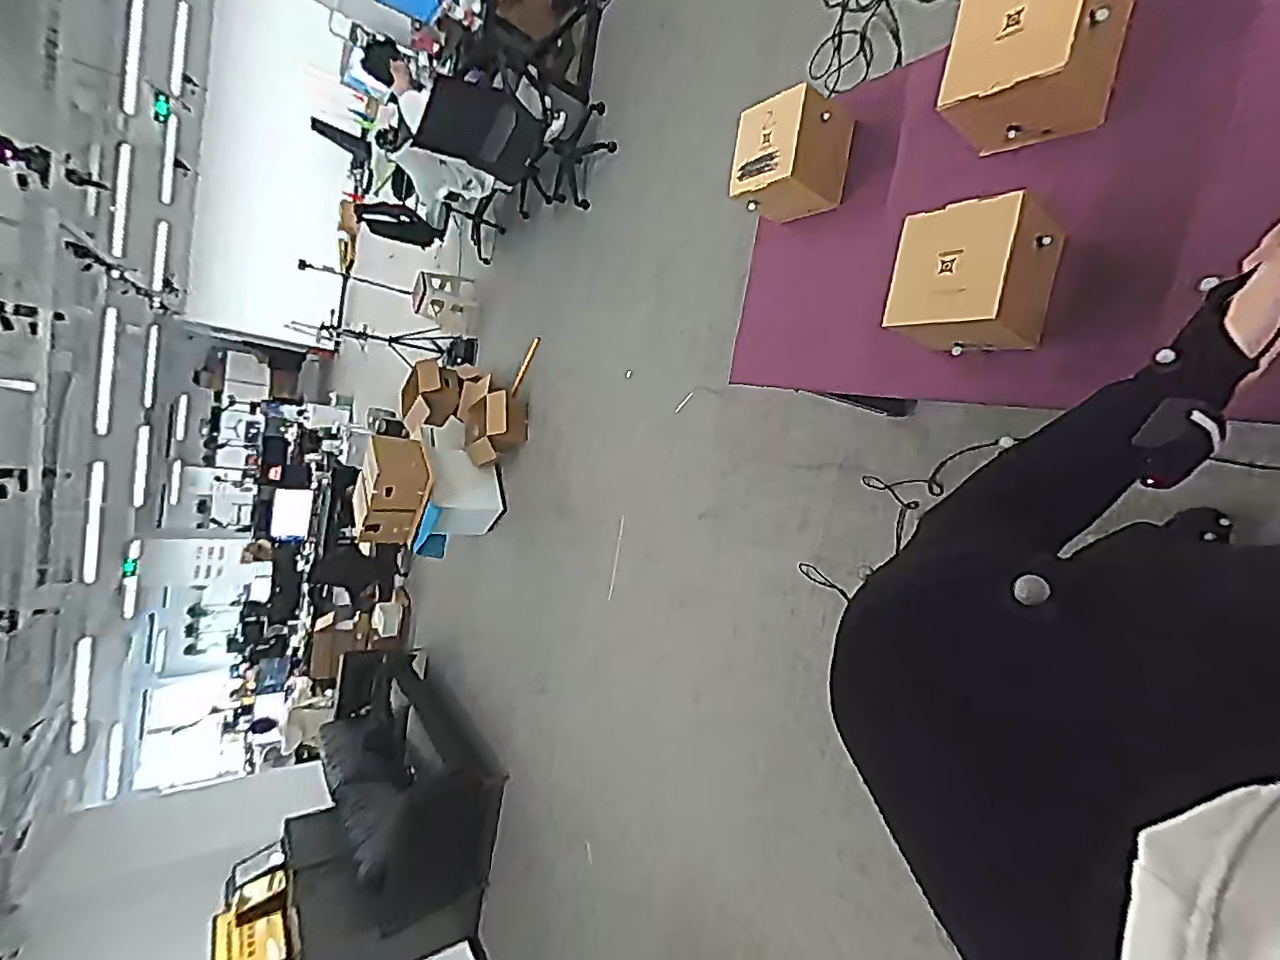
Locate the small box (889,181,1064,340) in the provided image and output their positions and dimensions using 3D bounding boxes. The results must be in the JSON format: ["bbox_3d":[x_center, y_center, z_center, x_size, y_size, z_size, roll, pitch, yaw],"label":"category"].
[{"bbox_3d":[0.529,-0.328,0.848,0.168,0.176,0.179,18,99,54],"label":"small box"}]

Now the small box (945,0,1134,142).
[{"bbox_3d":[0.592,-0.645,0.802,0.168,0.176,0.179,21,104,52],"label":"small box"}]
